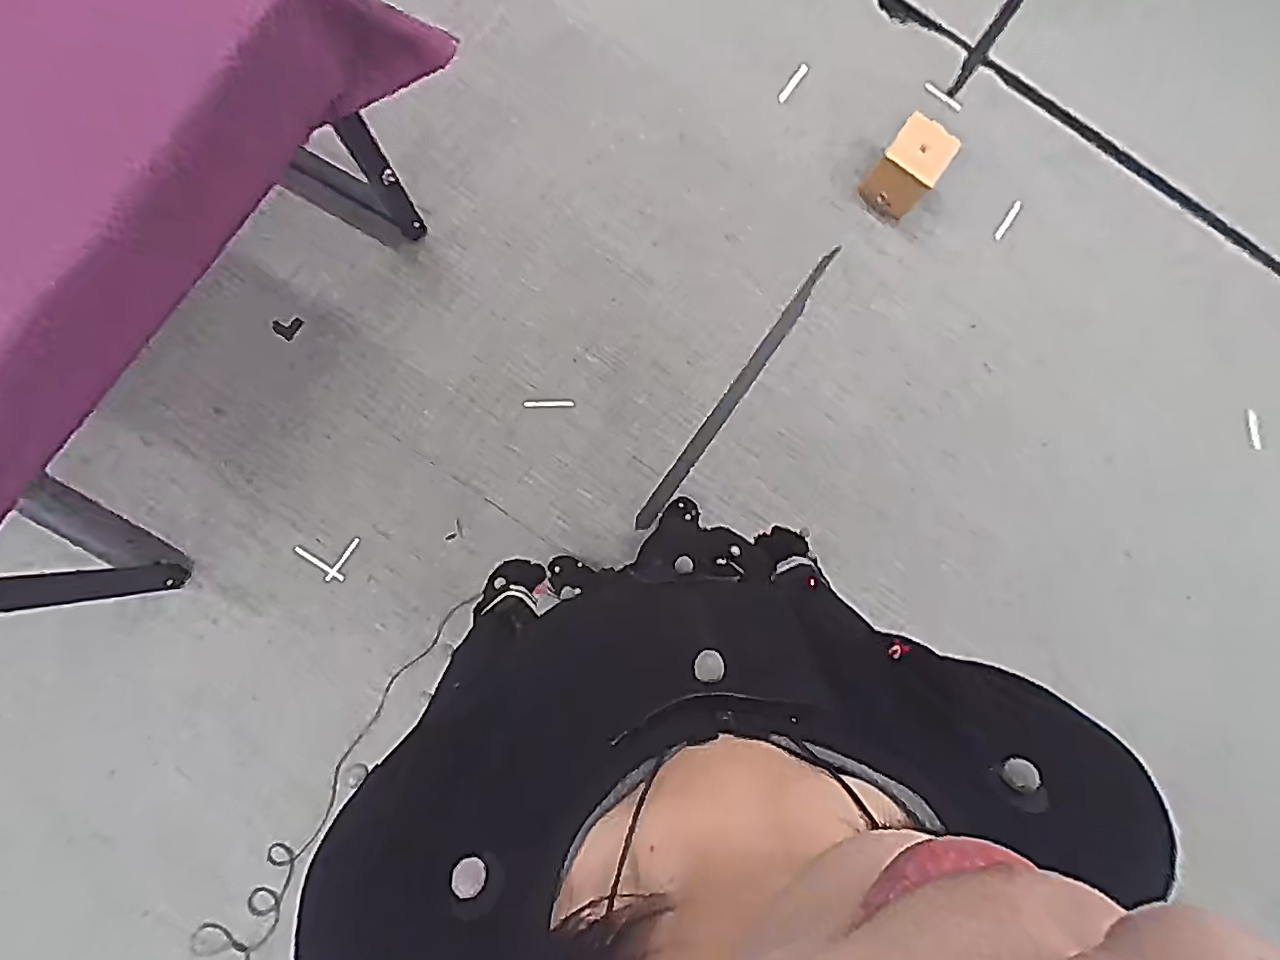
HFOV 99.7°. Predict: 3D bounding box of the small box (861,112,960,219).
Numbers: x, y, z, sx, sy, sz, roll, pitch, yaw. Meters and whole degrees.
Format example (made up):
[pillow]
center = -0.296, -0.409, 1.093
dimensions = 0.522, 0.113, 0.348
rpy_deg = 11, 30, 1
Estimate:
[small box]
center = 0.792, -0.924, 1.602
dimensions = 0.168, 0.176, 0.179
rpy_deg = 35, 84, 0
